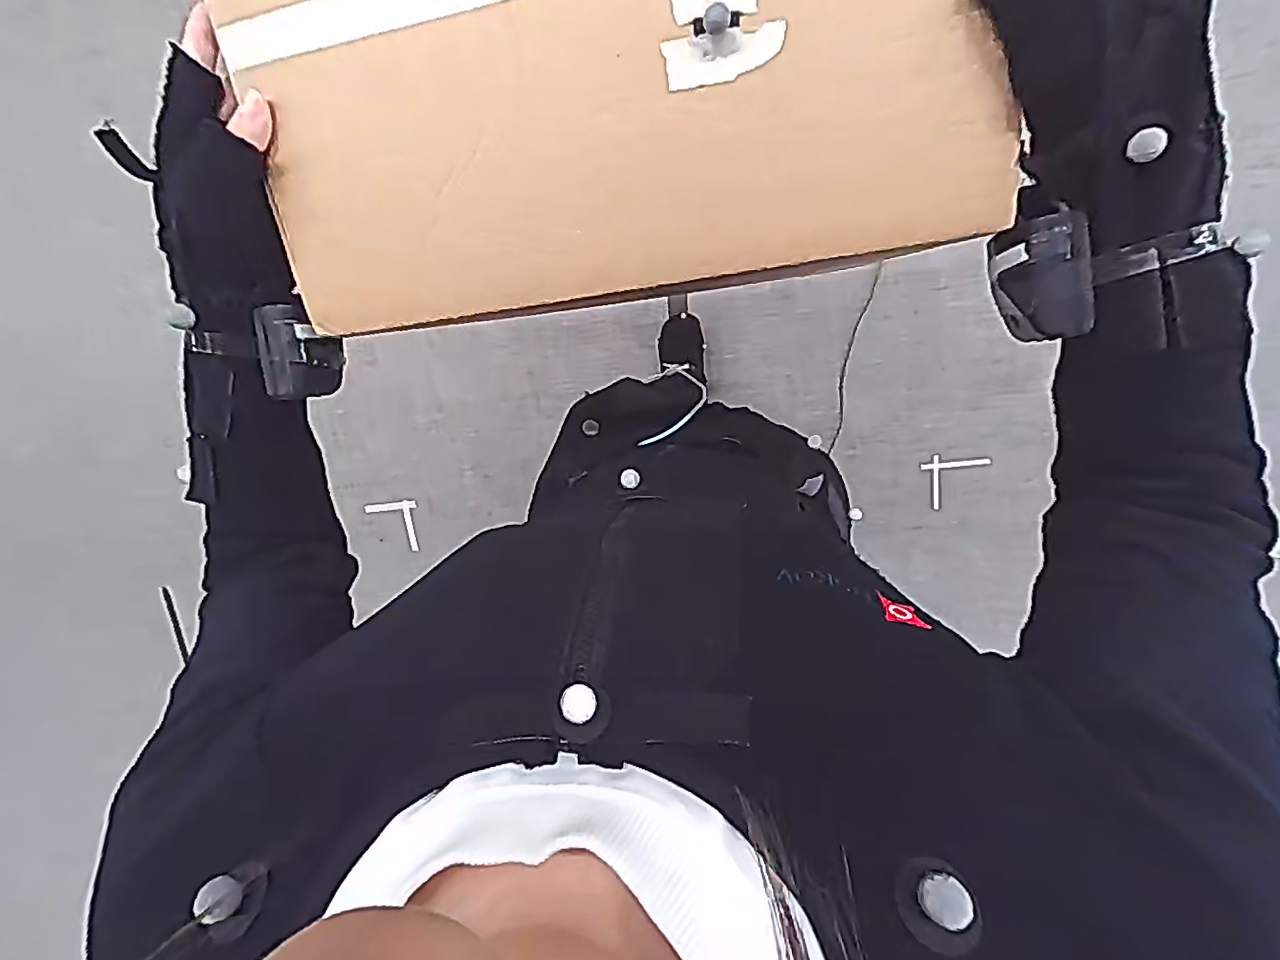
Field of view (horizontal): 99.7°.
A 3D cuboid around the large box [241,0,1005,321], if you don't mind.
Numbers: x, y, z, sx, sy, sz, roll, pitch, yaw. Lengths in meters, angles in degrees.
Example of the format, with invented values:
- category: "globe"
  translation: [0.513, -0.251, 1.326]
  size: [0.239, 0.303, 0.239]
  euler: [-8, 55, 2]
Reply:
- category: "large box"
  translation: [-0.009, -0.316, 0.414]
  size: [0.408, 0.320, 0.320]
  euler: [-6, 108, 10]
